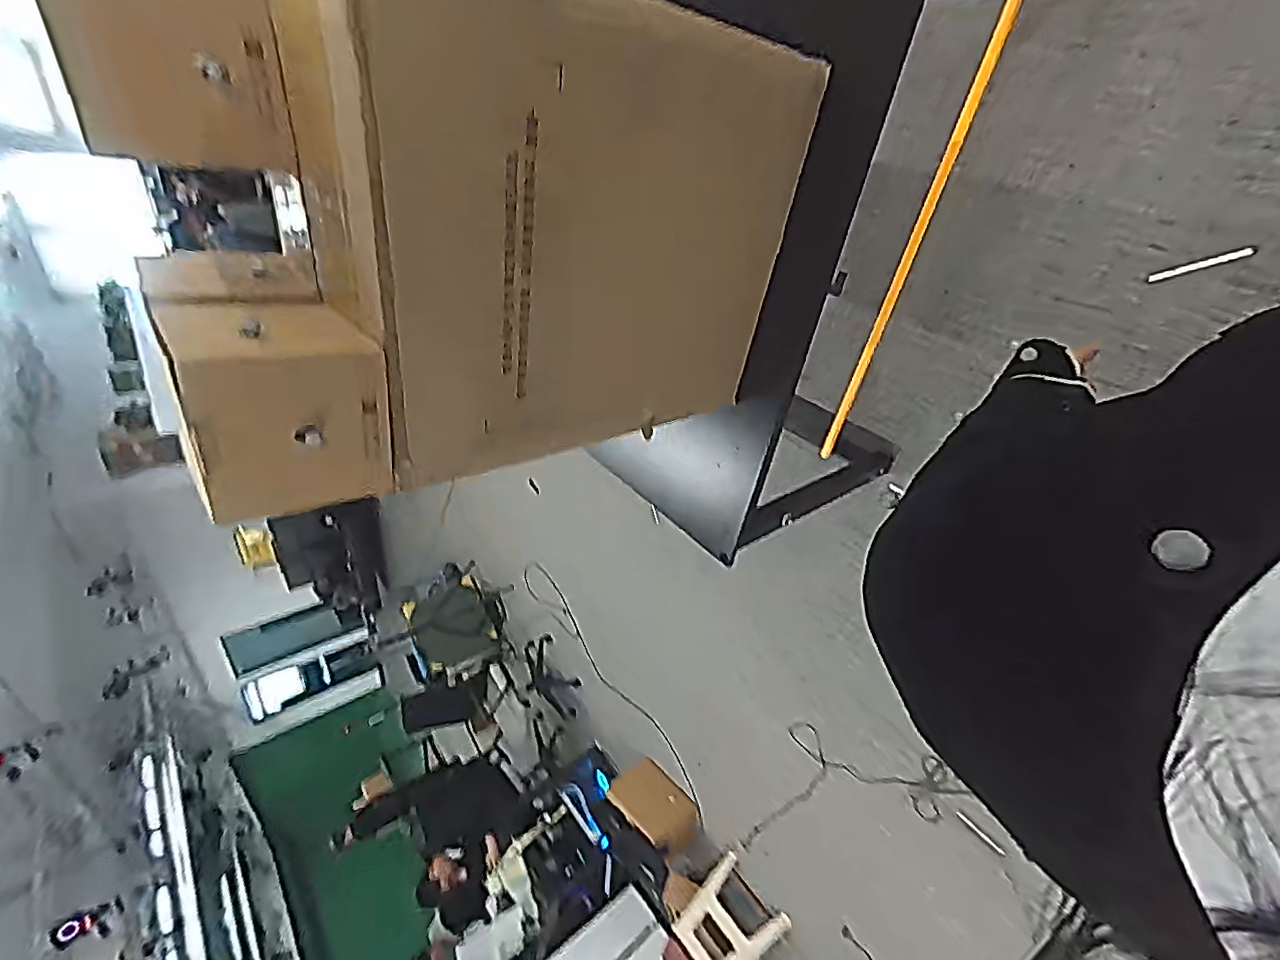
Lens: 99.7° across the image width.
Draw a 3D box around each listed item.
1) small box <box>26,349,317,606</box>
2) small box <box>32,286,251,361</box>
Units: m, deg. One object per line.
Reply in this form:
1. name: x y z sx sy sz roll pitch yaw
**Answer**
1. small box: -0.426 -0.020 0.514 0.179 0.176 0.168 32 125 36
2. small box: -0.557 -0.117 0.638 0.168 0.176 0.179 40 132 36
